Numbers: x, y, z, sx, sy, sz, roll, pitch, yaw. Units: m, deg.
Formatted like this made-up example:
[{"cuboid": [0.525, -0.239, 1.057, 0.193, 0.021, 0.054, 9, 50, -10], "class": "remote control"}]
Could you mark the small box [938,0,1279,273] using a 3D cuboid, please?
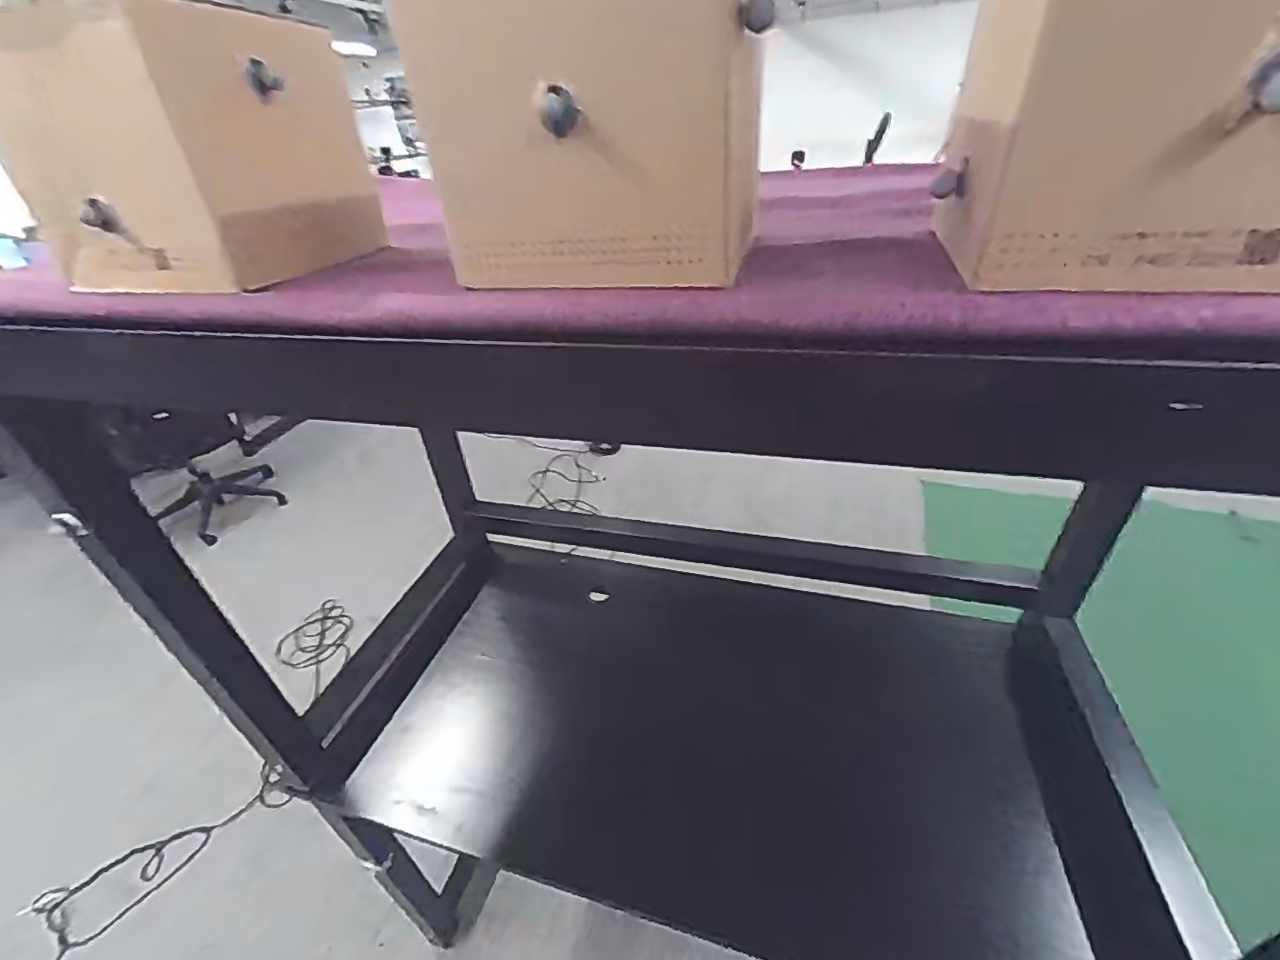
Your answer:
[{"cuboid": [0.260, -0.206, 0.261, 0.168, 0.176, 0.179, 7, 37, 17], "class": "small box"}]

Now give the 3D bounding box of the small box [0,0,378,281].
[{"cuboid": [-0.334, -0.263, 0.419, 0.168, 0.176, 0.179, 5, 35, 13], "class": "small box"}]
